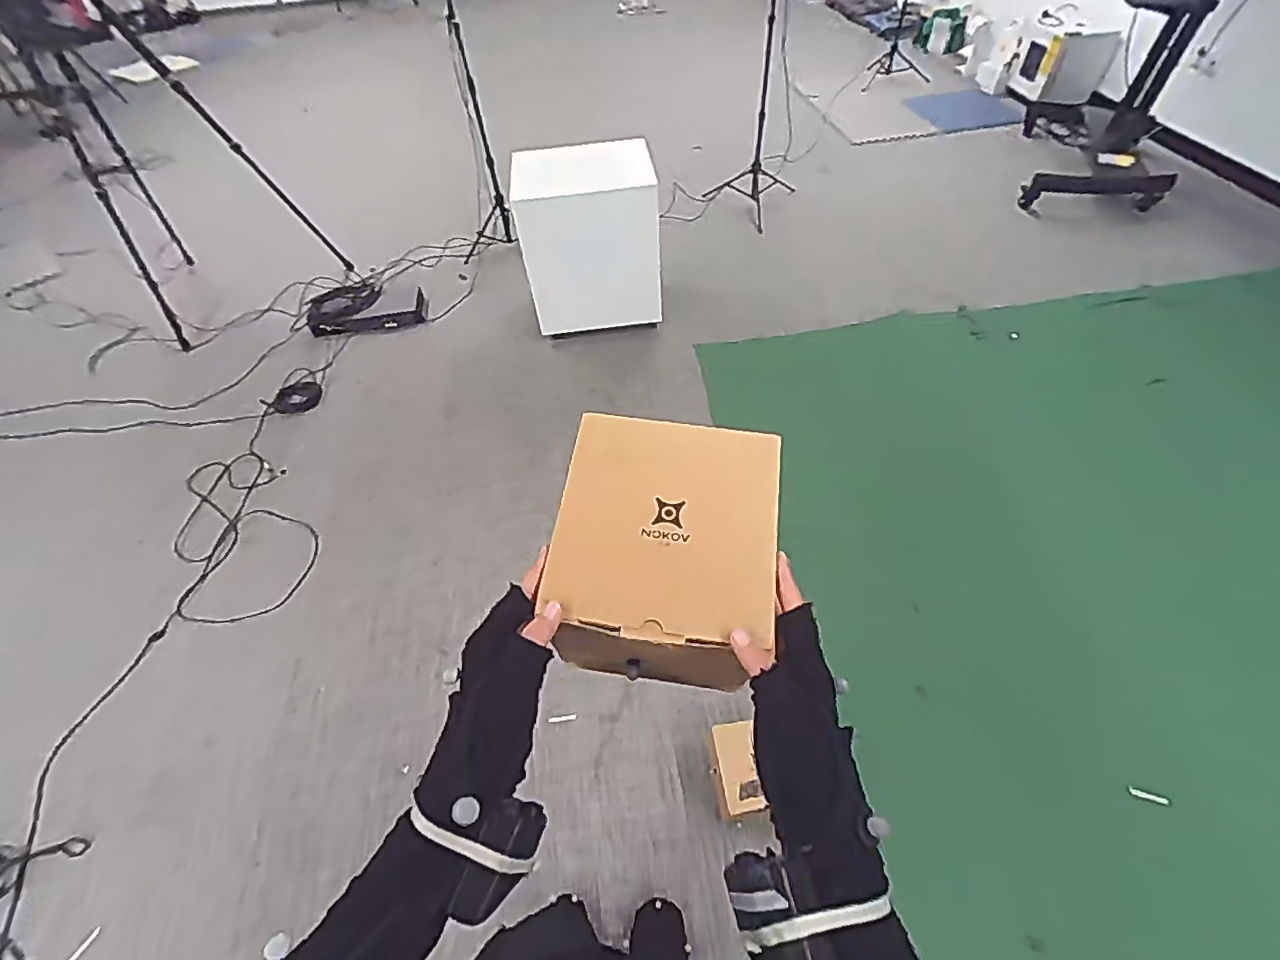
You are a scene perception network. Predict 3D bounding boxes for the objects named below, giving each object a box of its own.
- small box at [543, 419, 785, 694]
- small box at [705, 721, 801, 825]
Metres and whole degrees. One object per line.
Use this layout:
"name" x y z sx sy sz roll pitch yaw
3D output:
"small box" 0.024 0.073 0.474 0.168 0.176 0.179 7 61 5
"small box" 0.245 0.665 1.219 0.168 0.176 0.179 -7 51 -3
